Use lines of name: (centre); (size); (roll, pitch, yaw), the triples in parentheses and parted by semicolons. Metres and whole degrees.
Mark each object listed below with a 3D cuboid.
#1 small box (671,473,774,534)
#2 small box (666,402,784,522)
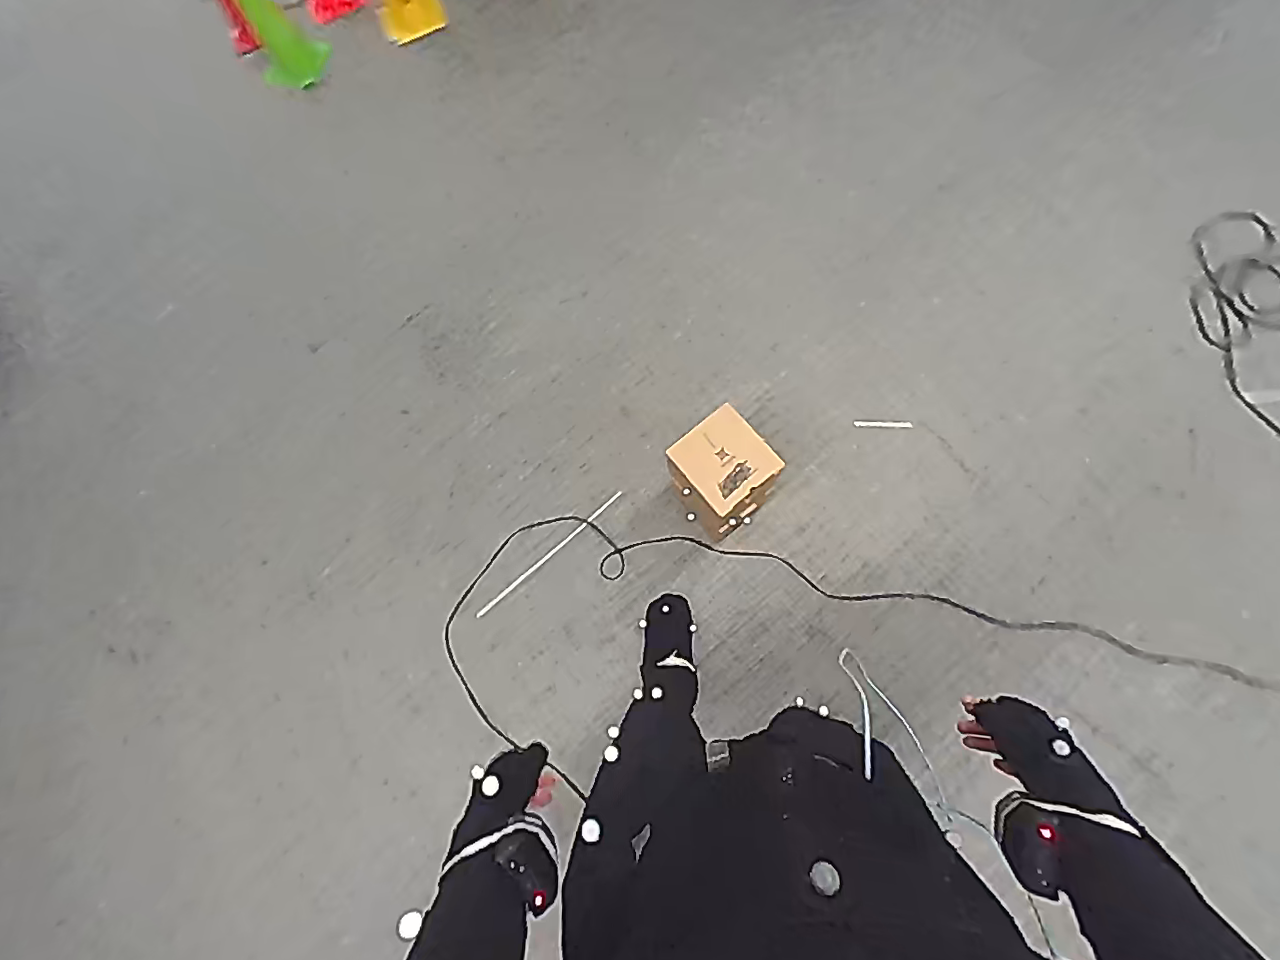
small box: (0.191, 0.016, 1.298); (0.168, 0.176, 0.179); (-42, 78, -7)
small box: (0.175, -0.027, 1.138); (0.168, 0.176, 0.179); (-39, 76, -4)
